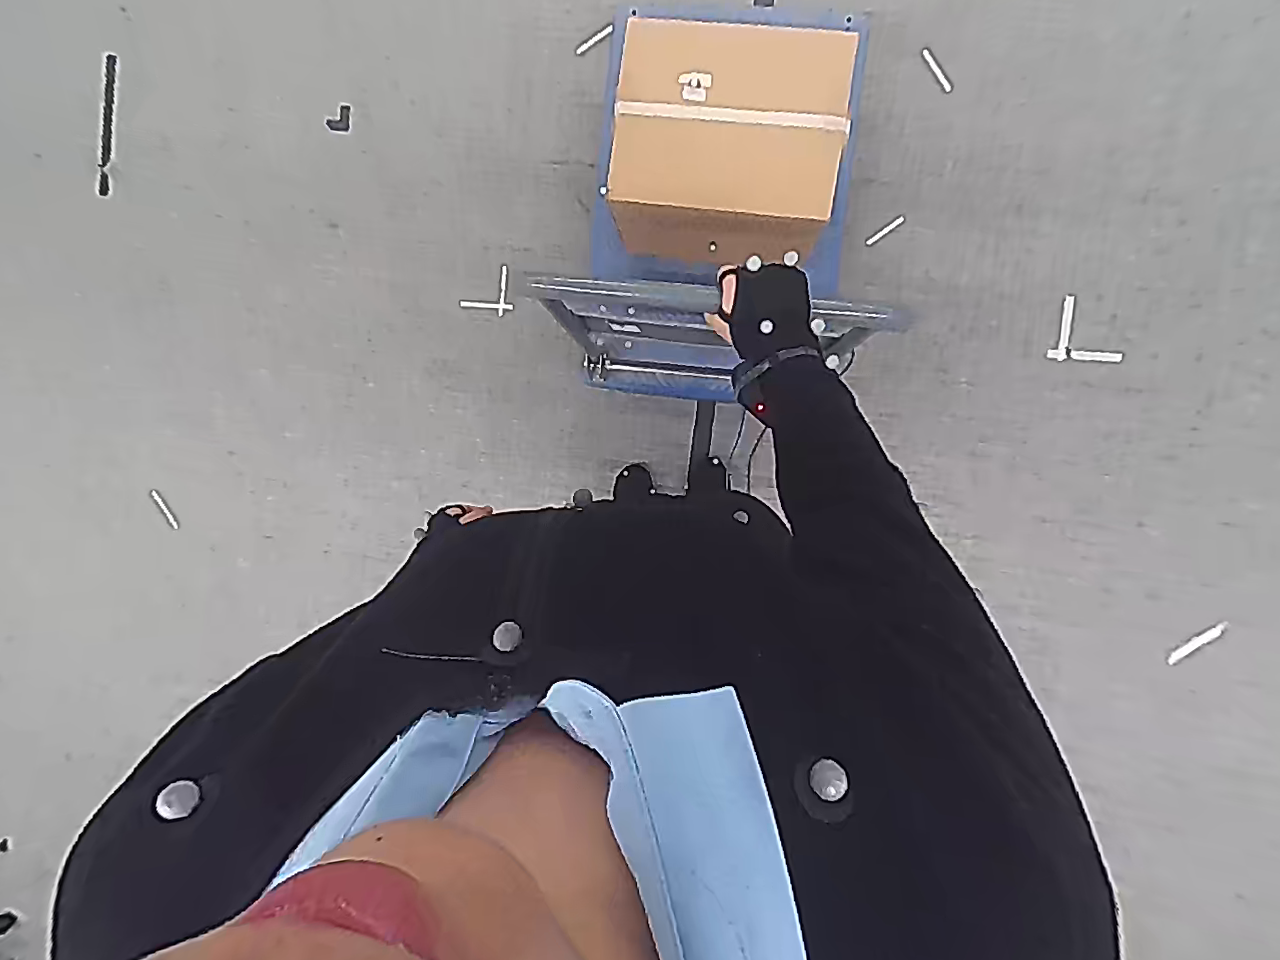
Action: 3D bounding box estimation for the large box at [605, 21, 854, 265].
[{"bbox_3d":[0.169,-0.645,1.088,0.408,0.320,0.320,8,95,7],"label":"large box"}]
